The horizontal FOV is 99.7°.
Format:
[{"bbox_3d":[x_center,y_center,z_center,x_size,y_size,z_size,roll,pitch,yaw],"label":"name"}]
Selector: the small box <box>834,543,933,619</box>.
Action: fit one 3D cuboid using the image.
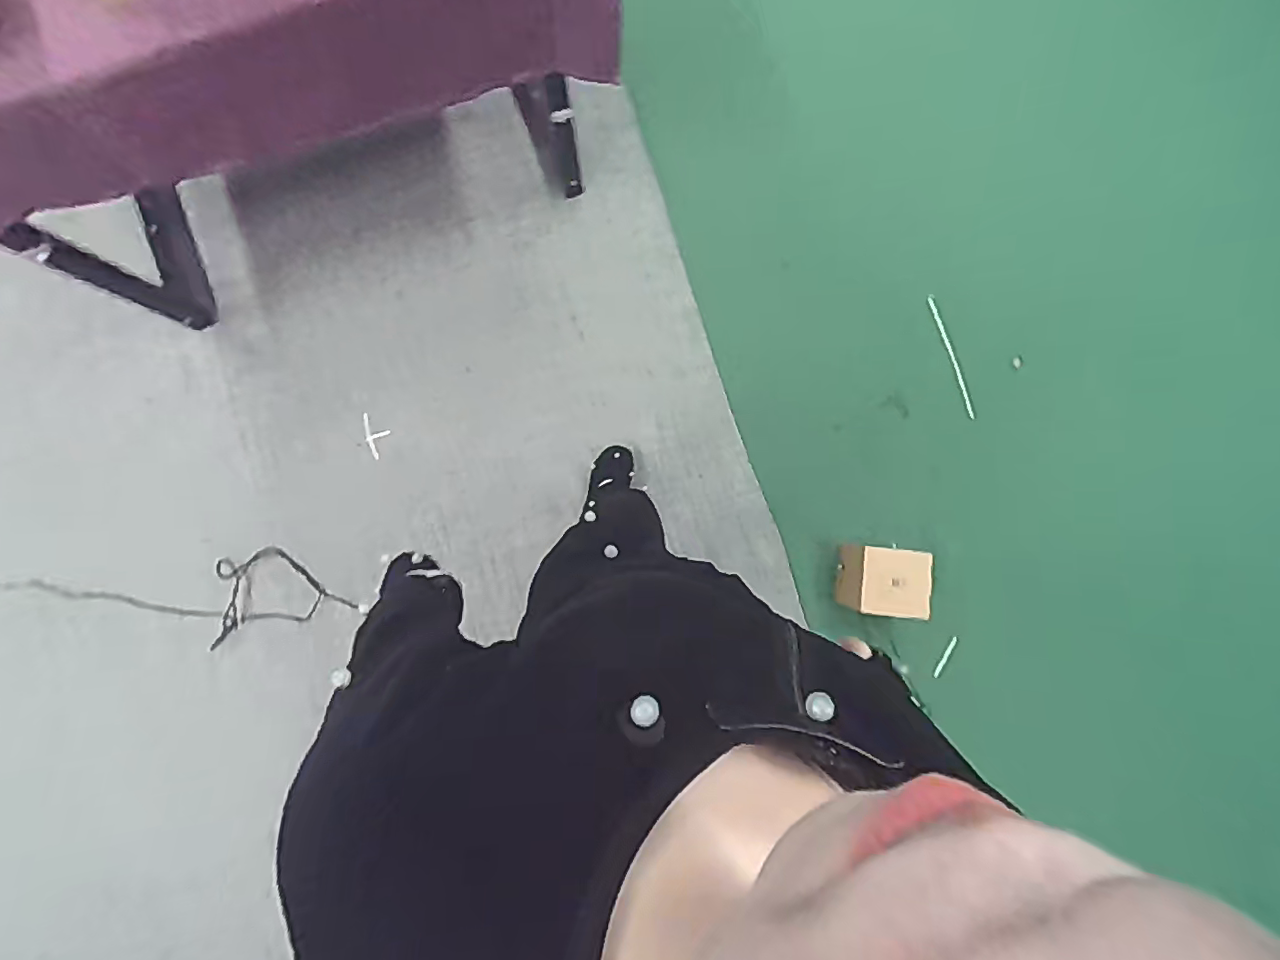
[{"bbox_3d":[0.634,0.259,1.419,0.179,0.176,0.168,7,85,0],"label":"small box"}]
